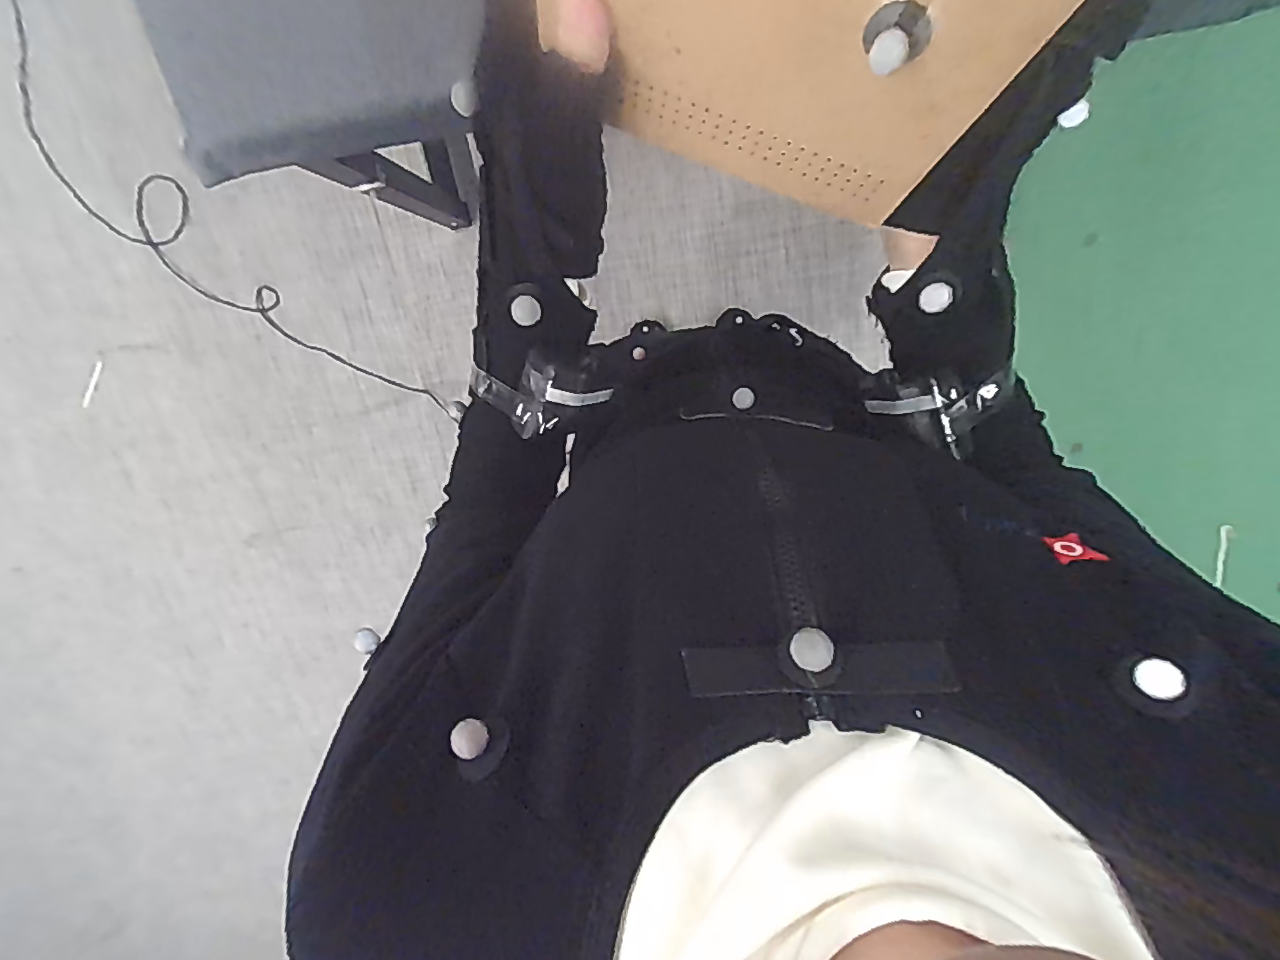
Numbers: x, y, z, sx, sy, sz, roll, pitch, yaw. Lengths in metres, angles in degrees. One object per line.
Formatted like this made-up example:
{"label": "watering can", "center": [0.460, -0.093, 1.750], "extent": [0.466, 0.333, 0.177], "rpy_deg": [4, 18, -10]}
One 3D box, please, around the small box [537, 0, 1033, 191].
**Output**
{"label": "small box", "center": [0.066, -0.246, 0.200], "extent": [0.179, 0.176, 0.168], "rpy_deg": [18, 81, -3]}
